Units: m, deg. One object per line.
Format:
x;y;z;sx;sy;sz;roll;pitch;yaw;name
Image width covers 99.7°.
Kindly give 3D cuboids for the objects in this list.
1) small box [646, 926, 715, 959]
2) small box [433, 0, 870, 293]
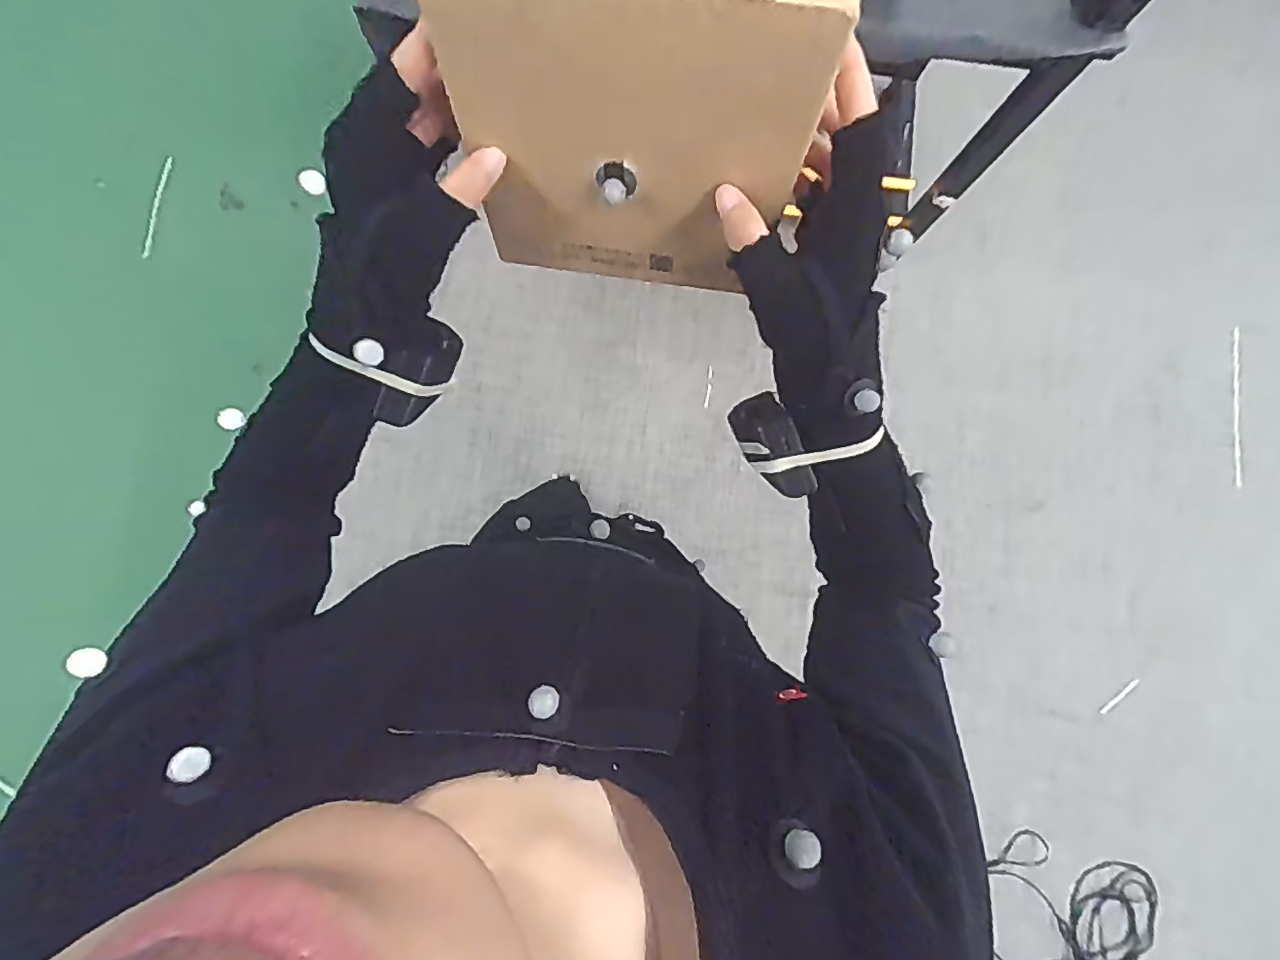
0.098;1.233;1.308;0.168;0.176;0.179;1;83;-2;small box
0.011;-0.229;0.295;0.168;0.176;0.179;8;73;-1;small box
